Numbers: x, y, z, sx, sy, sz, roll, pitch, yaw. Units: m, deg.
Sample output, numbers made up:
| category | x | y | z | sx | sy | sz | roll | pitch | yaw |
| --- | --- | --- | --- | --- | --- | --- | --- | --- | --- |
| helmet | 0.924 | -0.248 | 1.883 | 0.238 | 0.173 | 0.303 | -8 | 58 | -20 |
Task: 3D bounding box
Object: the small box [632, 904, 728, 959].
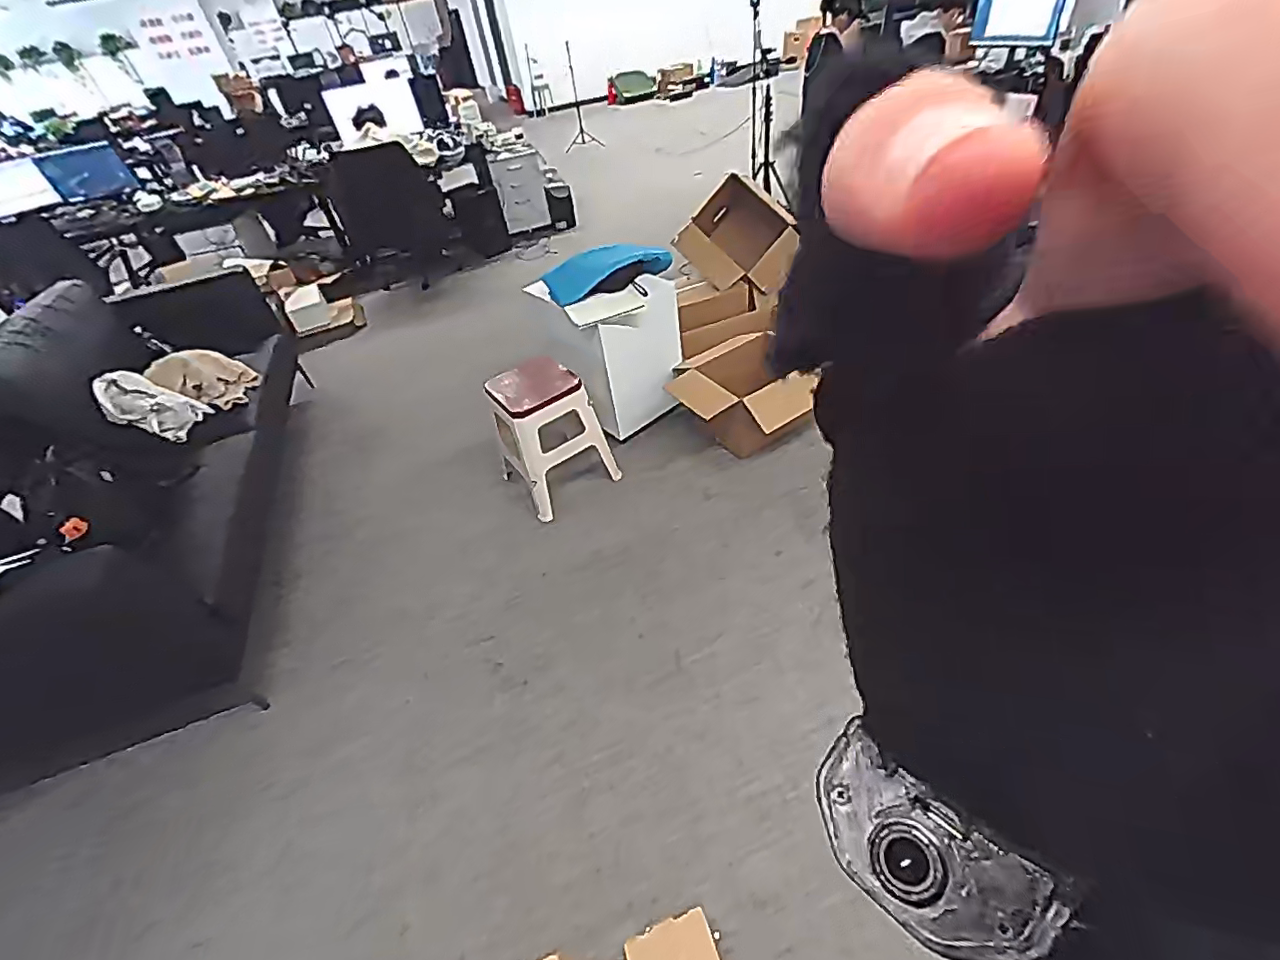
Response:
| category | x | y | z | sx | sy | sz | roll | pitch | yaw |
| --- | --- | --- | --- | --- | --- | --- | --- | --- | --- |
| small box | 0.095 | 0.962 | 1.034 | 0.168 | 0.176 | 0.179 | -19 | 43 | -8 |
